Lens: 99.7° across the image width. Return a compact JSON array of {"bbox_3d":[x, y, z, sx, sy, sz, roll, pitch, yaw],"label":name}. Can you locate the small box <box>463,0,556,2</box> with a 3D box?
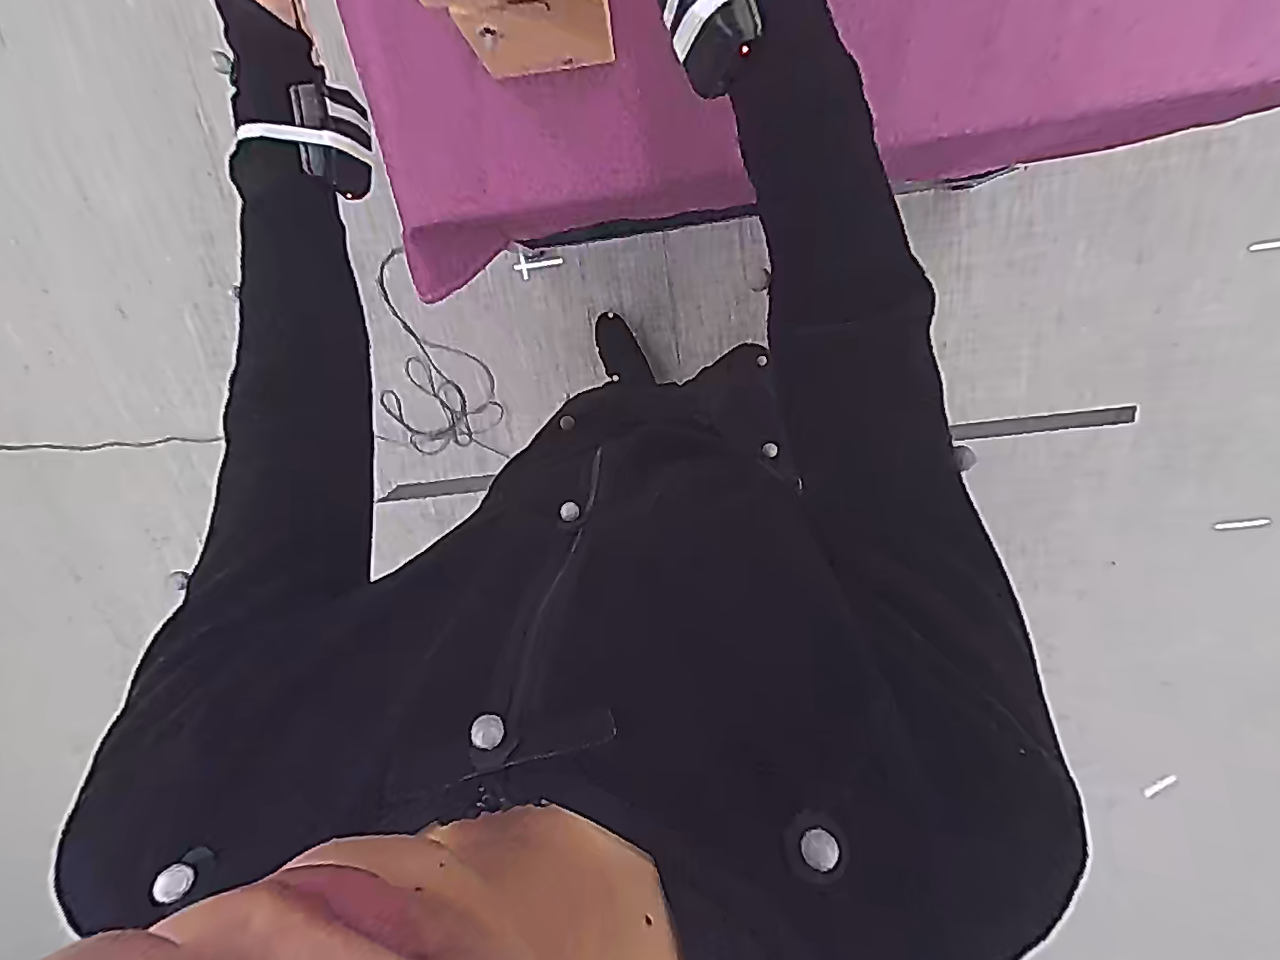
[{"bbox_3d":[-0.142,-0.552,0.464,0.179,0.176,0.168,0,108,1],"label":"small box"}]
